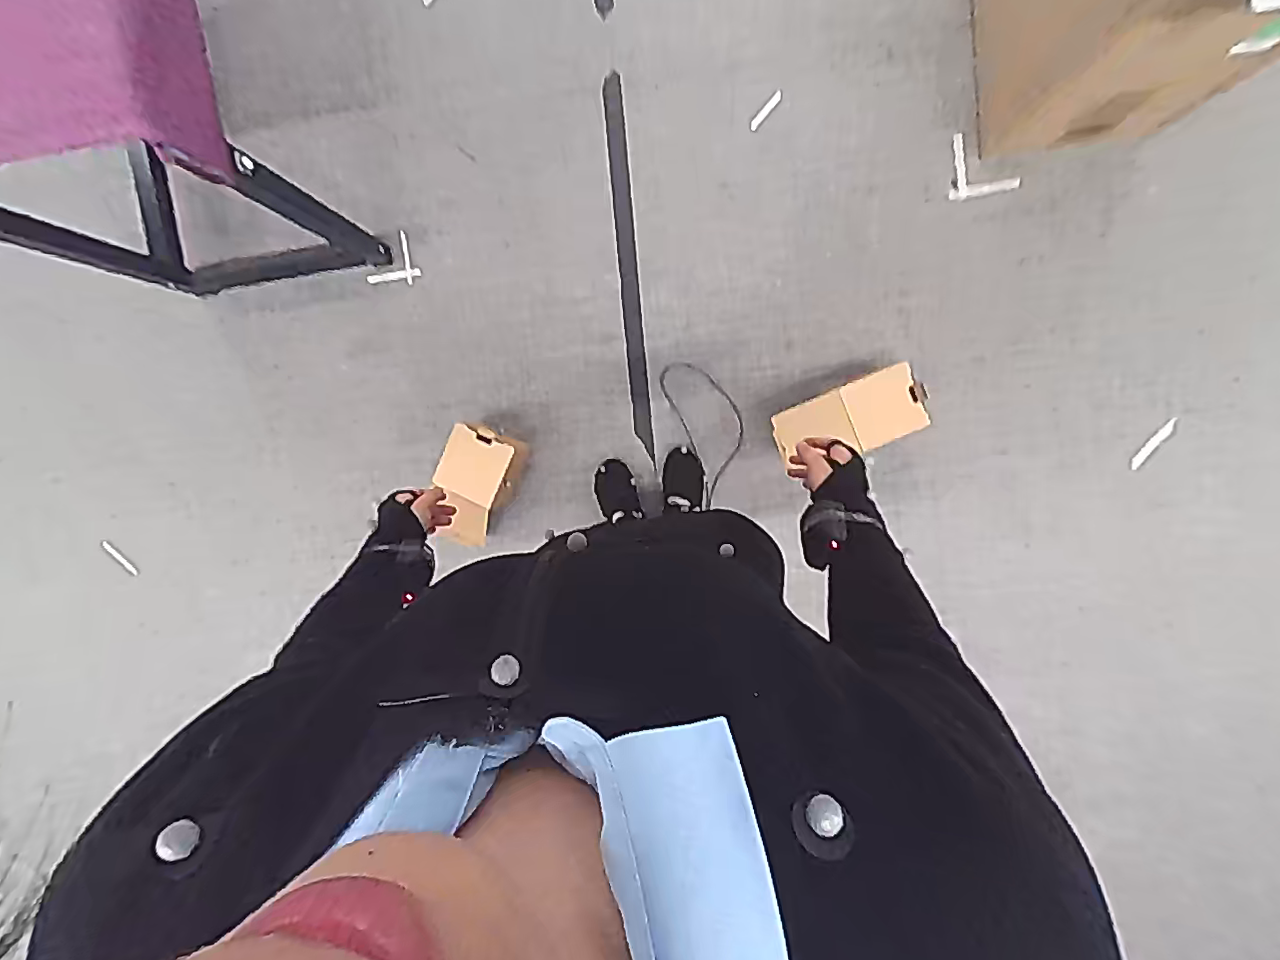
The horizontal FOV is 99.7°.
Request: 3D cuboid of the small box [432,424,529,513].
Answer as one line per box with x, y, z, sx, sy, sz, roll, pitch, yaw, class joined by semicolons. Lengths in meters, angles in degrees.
-0.412;-0.033;1.427;0.168;0.176;0.179;25;95;1;small box
